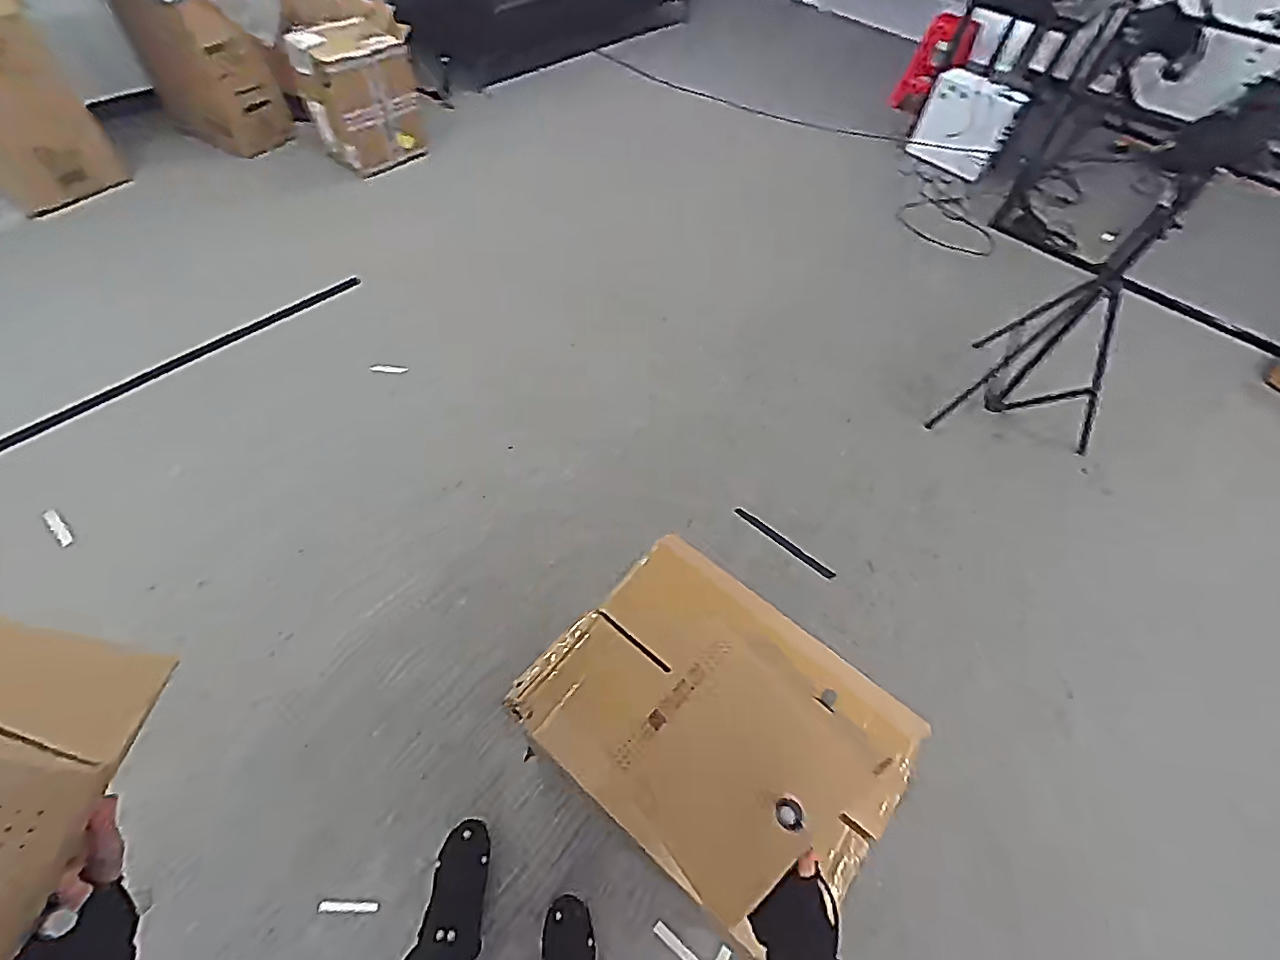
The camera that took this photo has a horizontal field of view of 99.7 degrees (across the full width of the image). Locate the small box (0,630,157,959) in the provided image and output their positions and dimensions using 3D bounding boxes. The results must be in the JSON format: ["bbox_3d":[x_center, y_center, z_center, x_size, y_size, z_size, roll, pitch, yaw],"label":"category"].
[{"bbox_3d":[-0.356,0.159,0.232,0.179,0.168,0.176,28,74,-29],"label":"small box"}]

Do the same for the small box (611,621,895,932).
[{"bbox_3d":[0.108,0.252,0.507,0.168,0.179,0.176,-51,57,5],"label":"small box"}]
